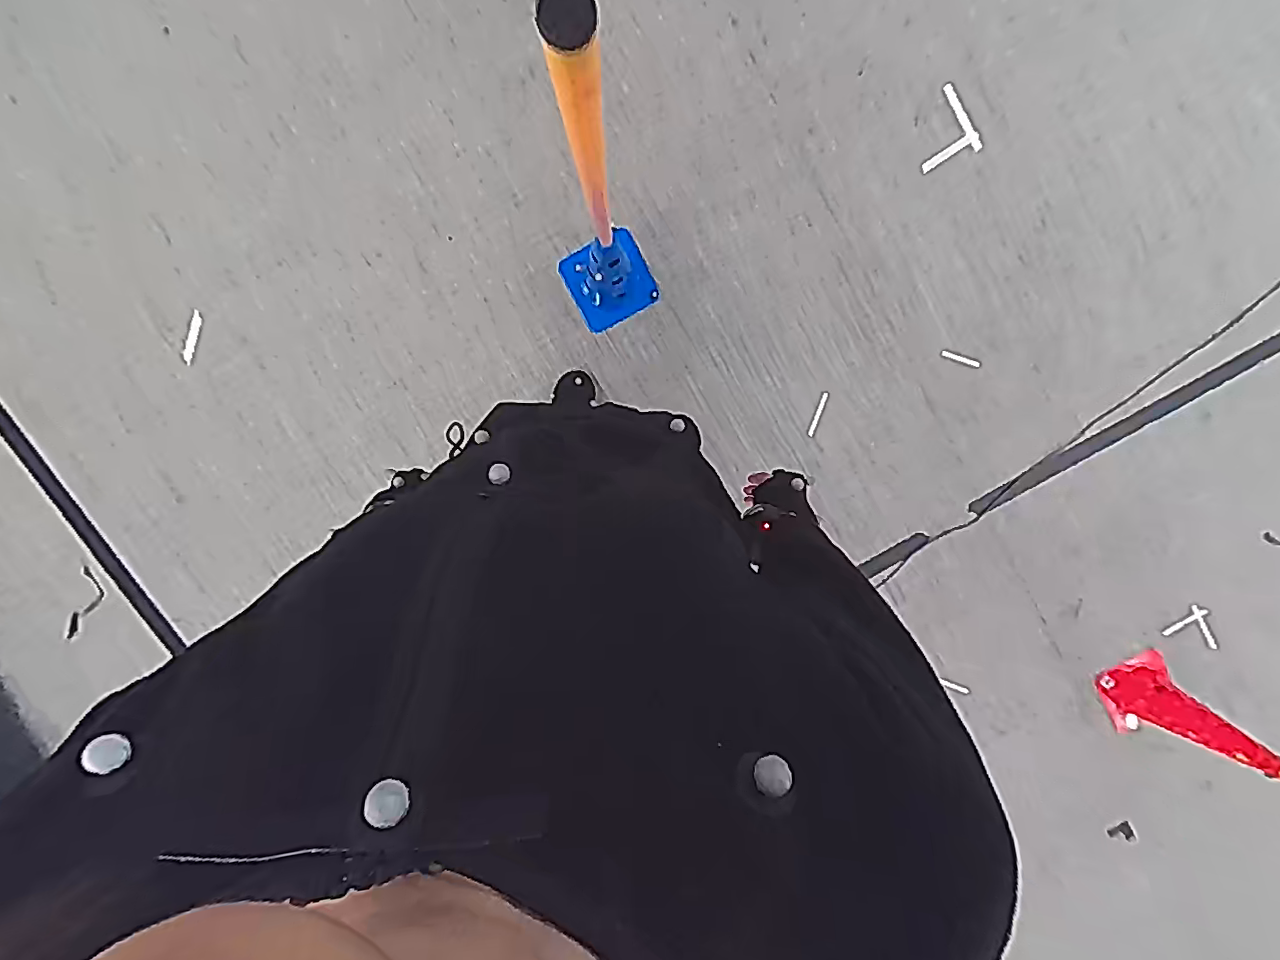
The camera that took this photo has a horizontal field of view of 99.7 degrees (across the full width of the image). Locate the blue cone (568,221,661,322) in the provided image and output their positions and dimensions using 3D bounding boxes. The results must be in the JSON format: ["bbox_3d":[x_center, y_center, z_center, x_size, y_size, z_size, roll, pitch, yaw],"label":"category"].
[{"bbox_3d":[-0.059,-0.485,1.180,0.192,0.380,0.193,-27,98,1],"label":"blue cone"}]
